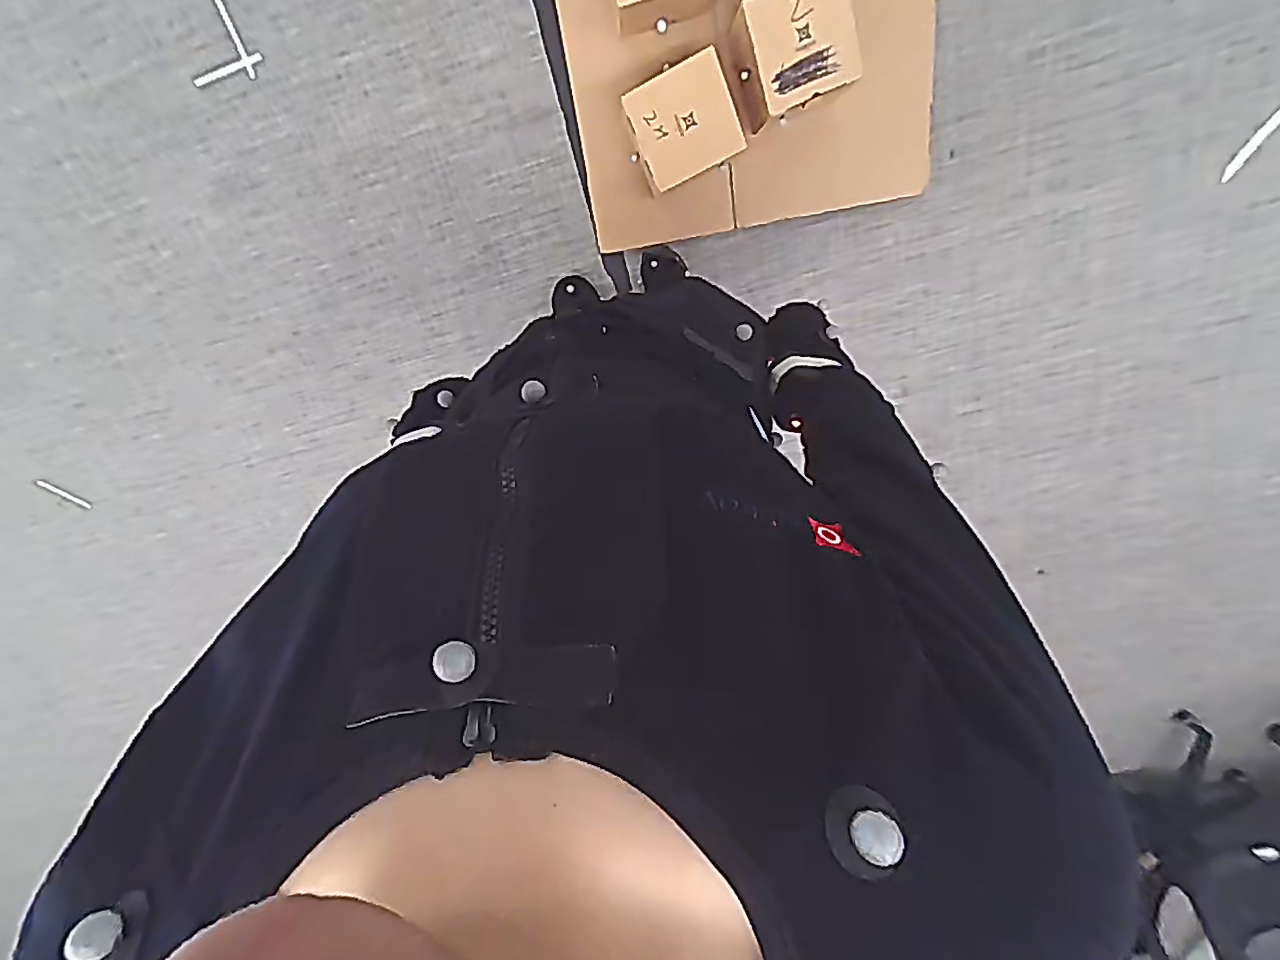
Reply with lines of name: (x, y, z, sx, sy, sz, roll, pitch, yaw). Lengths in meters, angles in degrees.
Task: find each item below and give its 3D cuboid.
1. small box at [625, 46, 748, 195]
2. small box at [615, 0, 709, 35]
small box: (0.082, -0.661, 1.017, 0.179, 0.176, 0.168, -22, 112, 10)
small box: (0.028, -0.899, 0.909, 0.168, 0.176, 0.179, -12, 115, 5)
